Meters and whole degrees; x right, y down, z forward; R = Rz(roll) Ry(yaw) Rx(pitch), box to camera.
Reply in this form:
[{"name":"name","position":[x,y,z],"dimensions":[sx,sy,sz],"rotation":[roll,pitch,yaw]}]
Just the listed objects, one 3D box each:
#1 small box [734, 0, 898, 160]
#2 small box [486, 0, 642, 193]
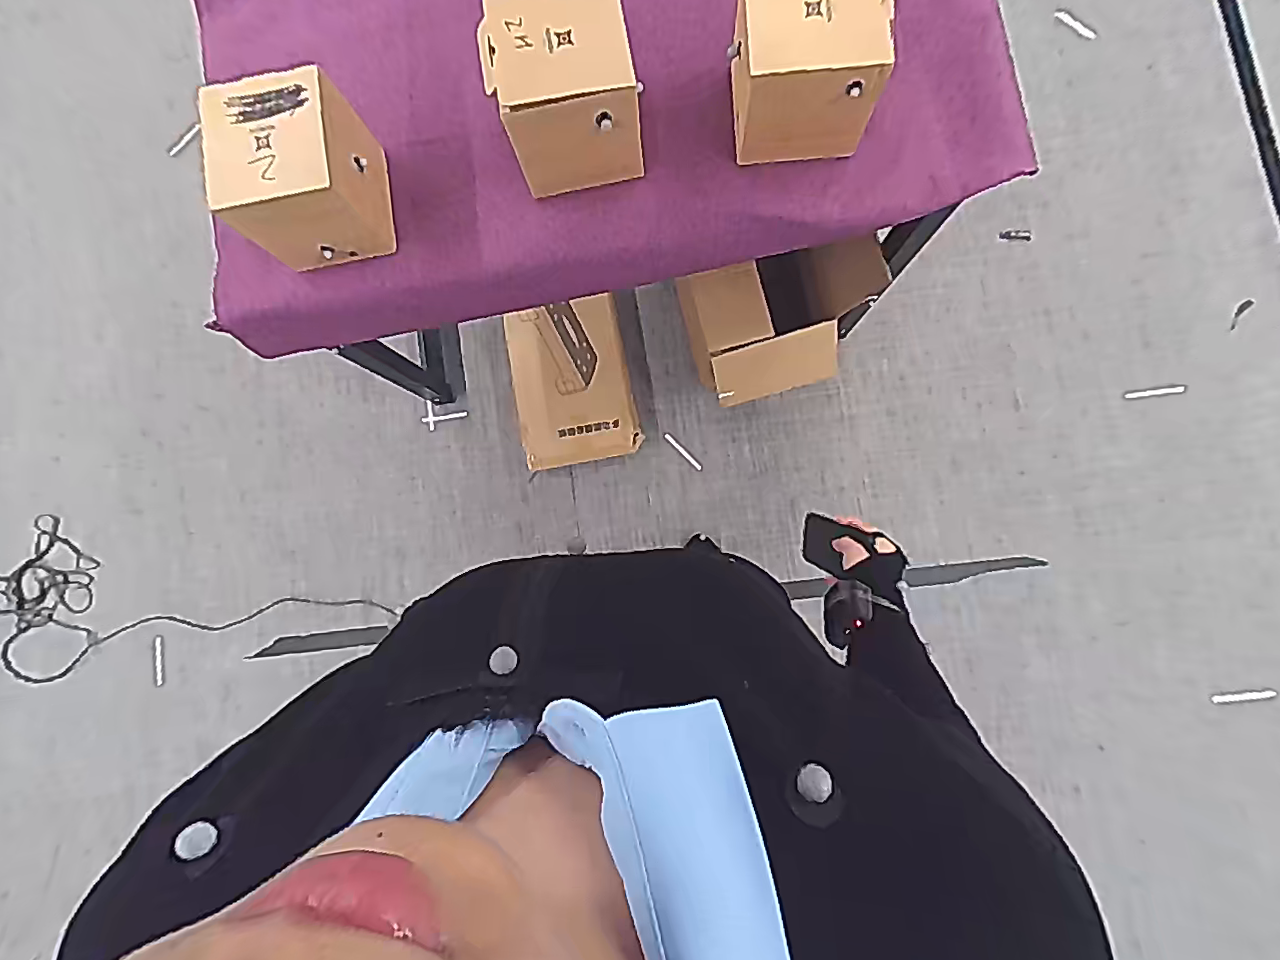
[{"name":"small box","position":[0.223,-0.567,0.734],"dimensions":[0.179,0.176,0.168],"rotation":[-3,85,3]},{"name":"small box","position":[-0.093,-0.536,0.750],"dimensions":[0.179,0.176,0.168],"rotation":[-10,82,3]}]
